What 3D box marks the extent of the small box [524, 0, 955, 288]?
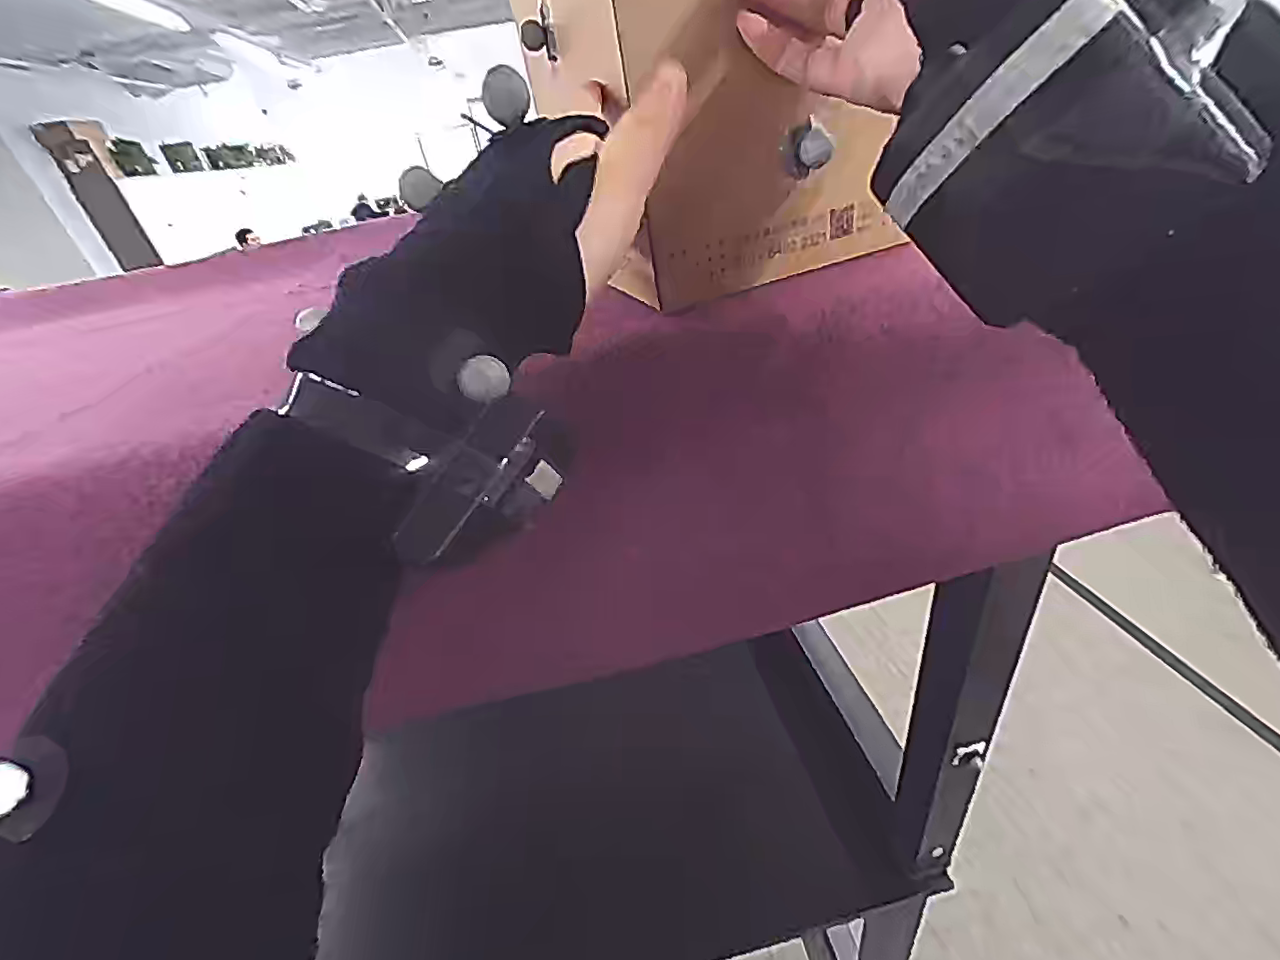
[{"bbox_3d":[0.042,-0.217,0.303,0.168,0.176,0.179,-20,33,-13],"label":"small box"}]
